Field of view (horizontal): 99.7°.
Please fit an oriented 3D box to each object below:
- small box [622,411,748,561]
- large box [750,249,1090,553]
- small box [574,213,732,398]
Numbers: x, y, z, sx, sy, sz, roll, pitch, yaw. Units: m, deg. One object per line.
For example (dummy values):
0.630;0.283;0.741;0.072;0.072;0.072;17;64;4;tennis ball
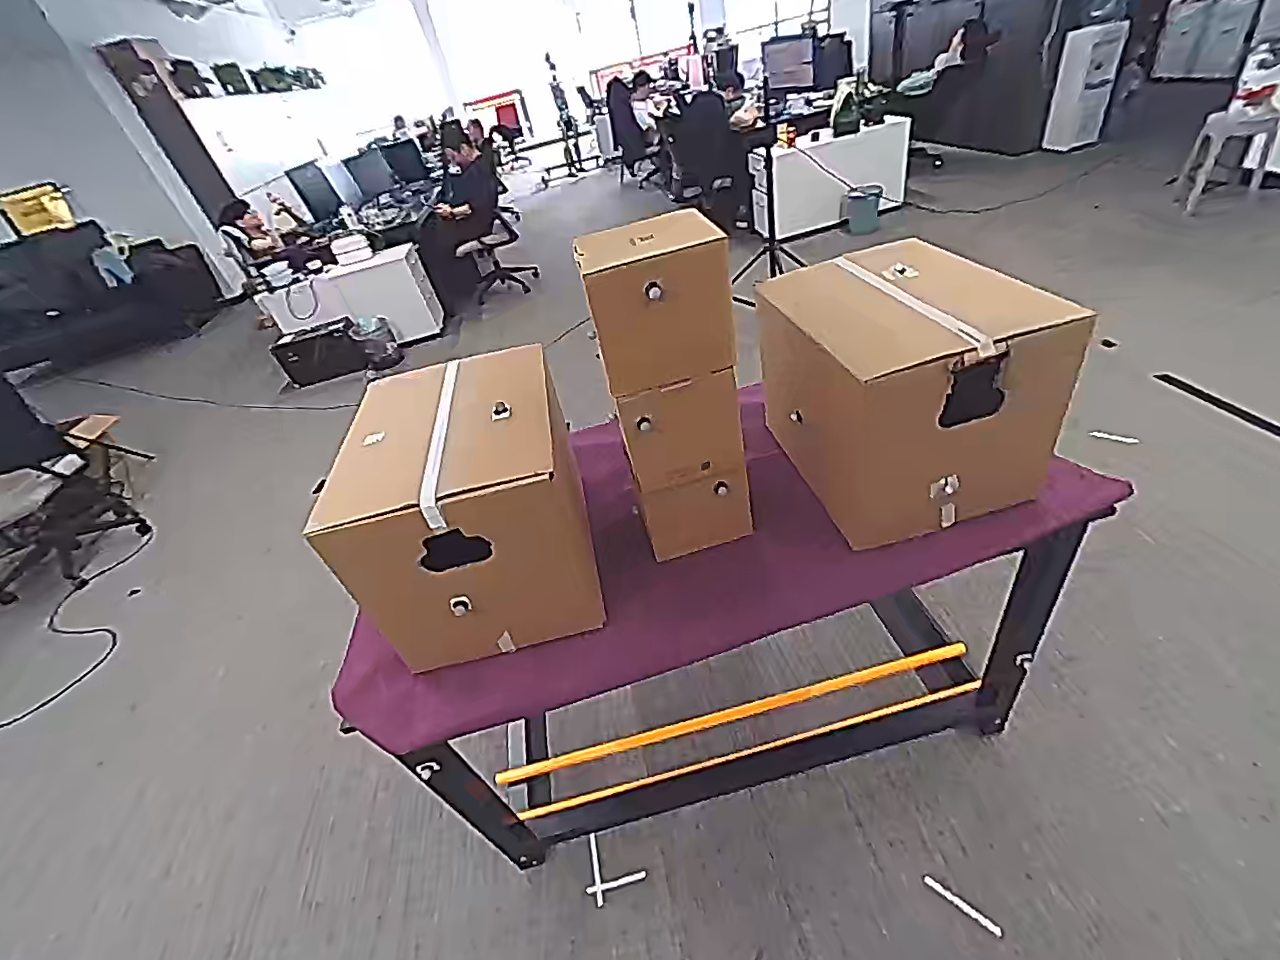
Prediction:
0.081;0.011;0.937;0.179;0.176;0.168;-17;37;-2;small box
0.415;-0.149;0.913;0.320;0.320;0.408;-16;37;-1;large box
0.020;-0.235;0.731;0.179;0.176;0.168;-15;38;0;small box
